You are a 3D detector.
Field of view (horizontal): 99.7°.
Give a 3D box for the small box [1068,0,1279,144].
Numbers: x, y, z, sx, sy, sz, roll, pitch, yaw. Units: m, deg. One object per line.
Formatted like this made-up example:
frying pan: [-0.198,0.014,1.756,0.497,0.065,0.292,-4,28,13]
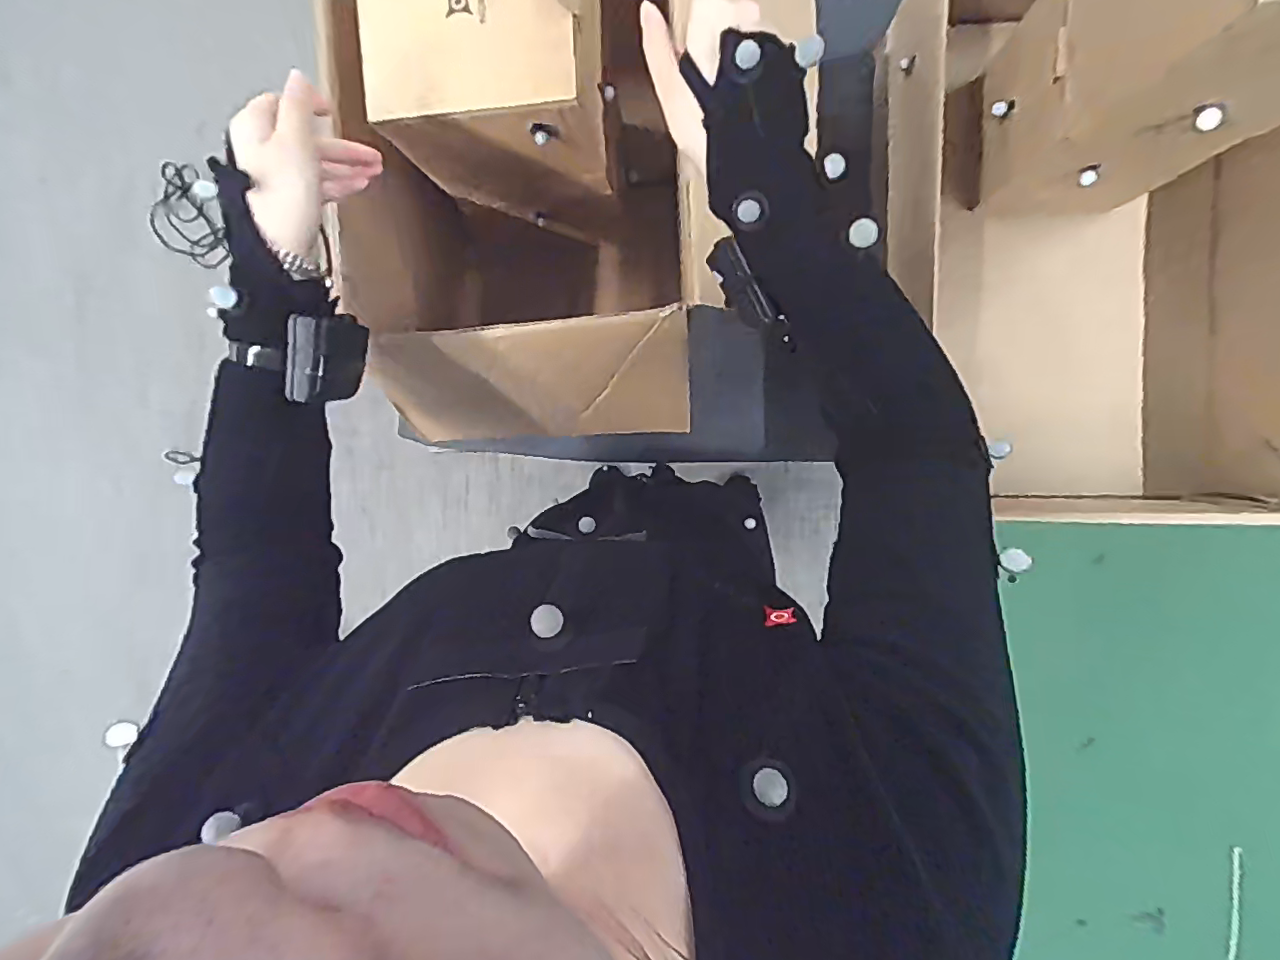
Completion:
small box: [0.480,-0.400,0.425,0.168,0.176,0.179,0,94,4]
